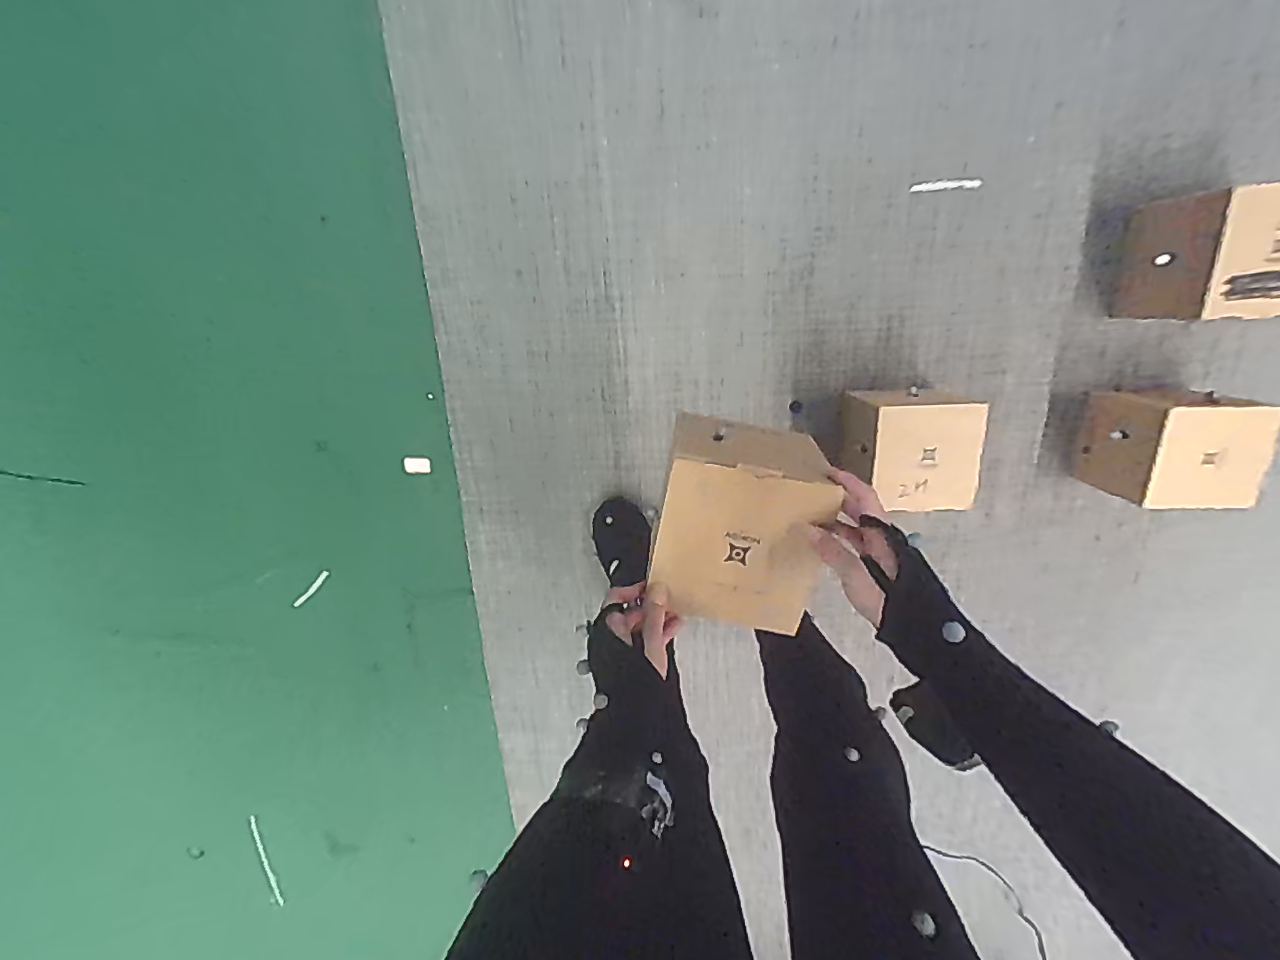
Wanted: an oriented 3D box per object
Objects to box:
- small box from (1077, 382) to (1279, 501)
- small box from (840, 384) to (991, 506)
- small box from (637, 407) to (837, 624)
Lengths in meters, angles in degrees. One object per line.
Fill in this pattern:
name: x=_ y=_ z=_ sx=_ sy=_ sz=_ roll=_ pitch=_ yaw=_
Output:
small box: x=0.880 y=-0.069 z=0.893 sx=0.179 sy=0.176 sz=0.168 roll=-1 pitch=108 yaw=1
small box: x=0.446 y=-0.066 z=0.906 sx=0.168 sy=0.176 sz=0.179 roll=-1 pitch=108 yaw=3
small box: x=0.097 y=0.028 z=0.608 sx=0.168 sy=0.176 sz=0.179 roll=11 pitch=112 yaw=2
